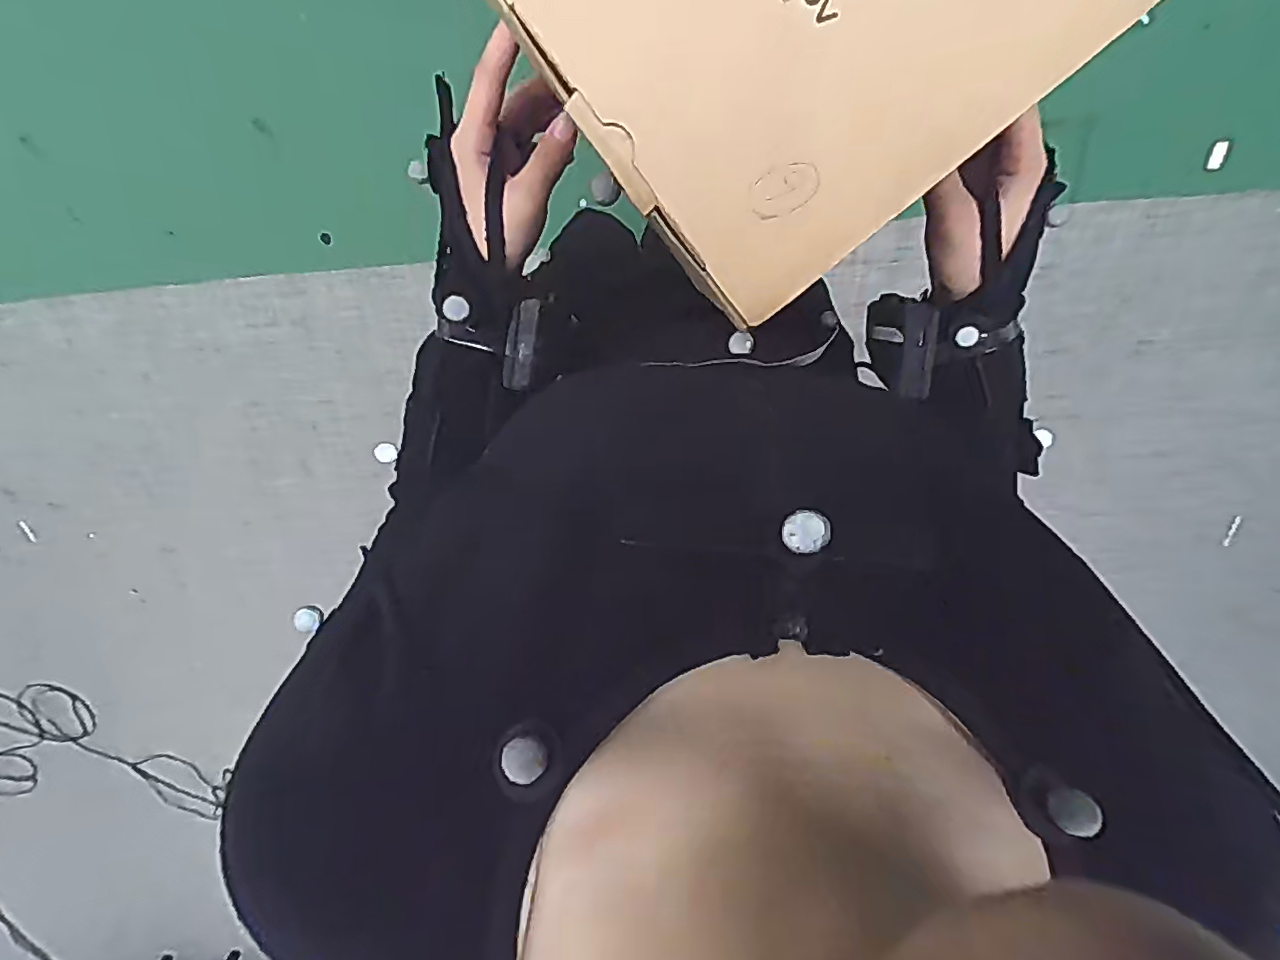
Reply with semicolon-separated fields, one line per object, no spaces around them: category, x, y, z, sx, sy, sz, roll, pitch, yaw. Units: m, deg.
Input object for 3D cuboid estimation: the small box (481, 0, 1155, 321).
small box;0.055;-0.201;0.241;0.179;0.176;0.168;-37;109;17
